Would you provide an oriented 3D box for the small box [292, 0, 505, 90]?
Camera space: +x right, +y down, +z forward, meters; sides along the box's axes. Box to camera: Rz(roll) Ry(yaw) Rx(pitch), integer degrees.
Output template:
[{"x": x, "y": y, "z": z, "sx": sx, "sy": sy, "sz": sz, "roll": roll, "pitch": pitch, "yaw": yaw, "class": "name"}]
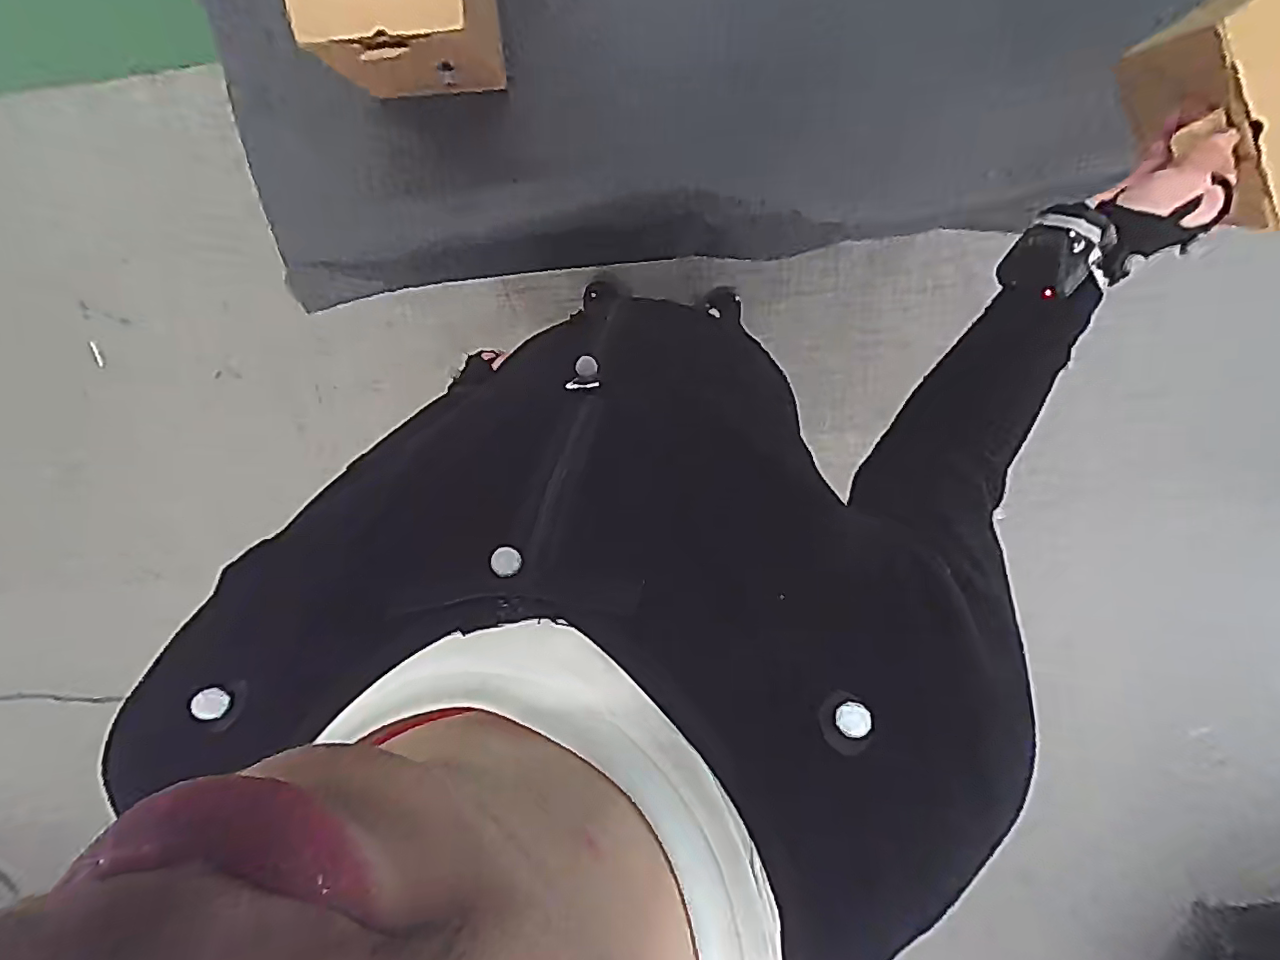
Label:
[{"x": -0.246, "y": -0.528, "z": 0.558, "sx": 0.168, "sy": 0.176, "sz": 0.179, "roll": -3, "pitch": 109, "yaw": 0, "class": "small box"}]
